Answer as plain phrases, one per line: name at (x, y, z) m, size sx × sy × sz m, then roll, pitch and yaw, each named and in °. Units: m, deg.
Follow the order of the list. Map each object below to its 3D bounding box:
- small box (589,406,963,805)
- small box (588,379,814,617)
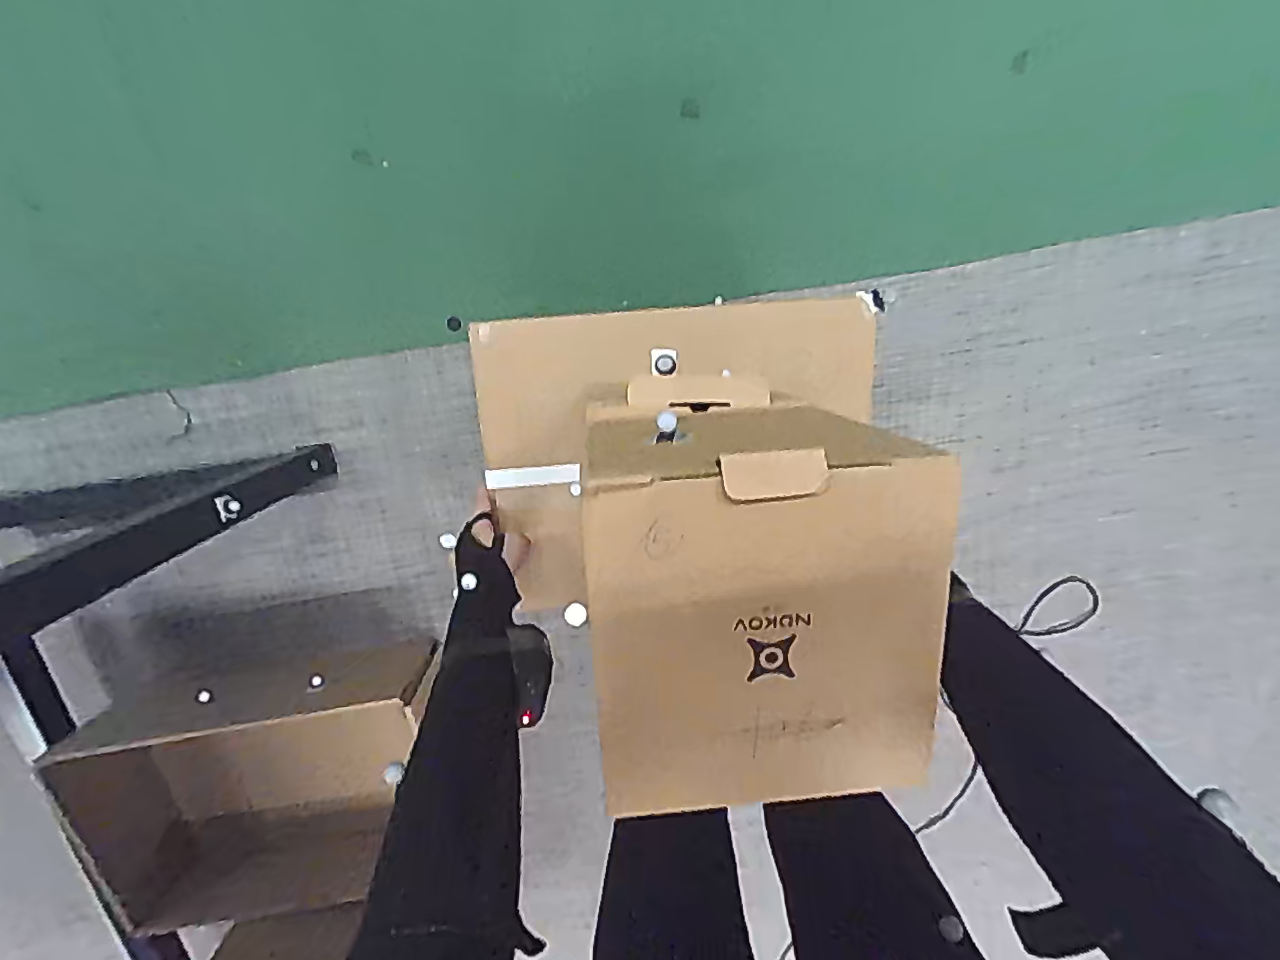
small box at (0.055, 0.051, 0.325) m, size 0.168 × 0.176 × 0.179 m, roll -3°, pitch 106°, yaw -3°
small box at (0.037, 0.004, 0.479) m, size 0.168 × 0.176 × 0.179 m, roll -1°, pitch 106°, yaw -4°
